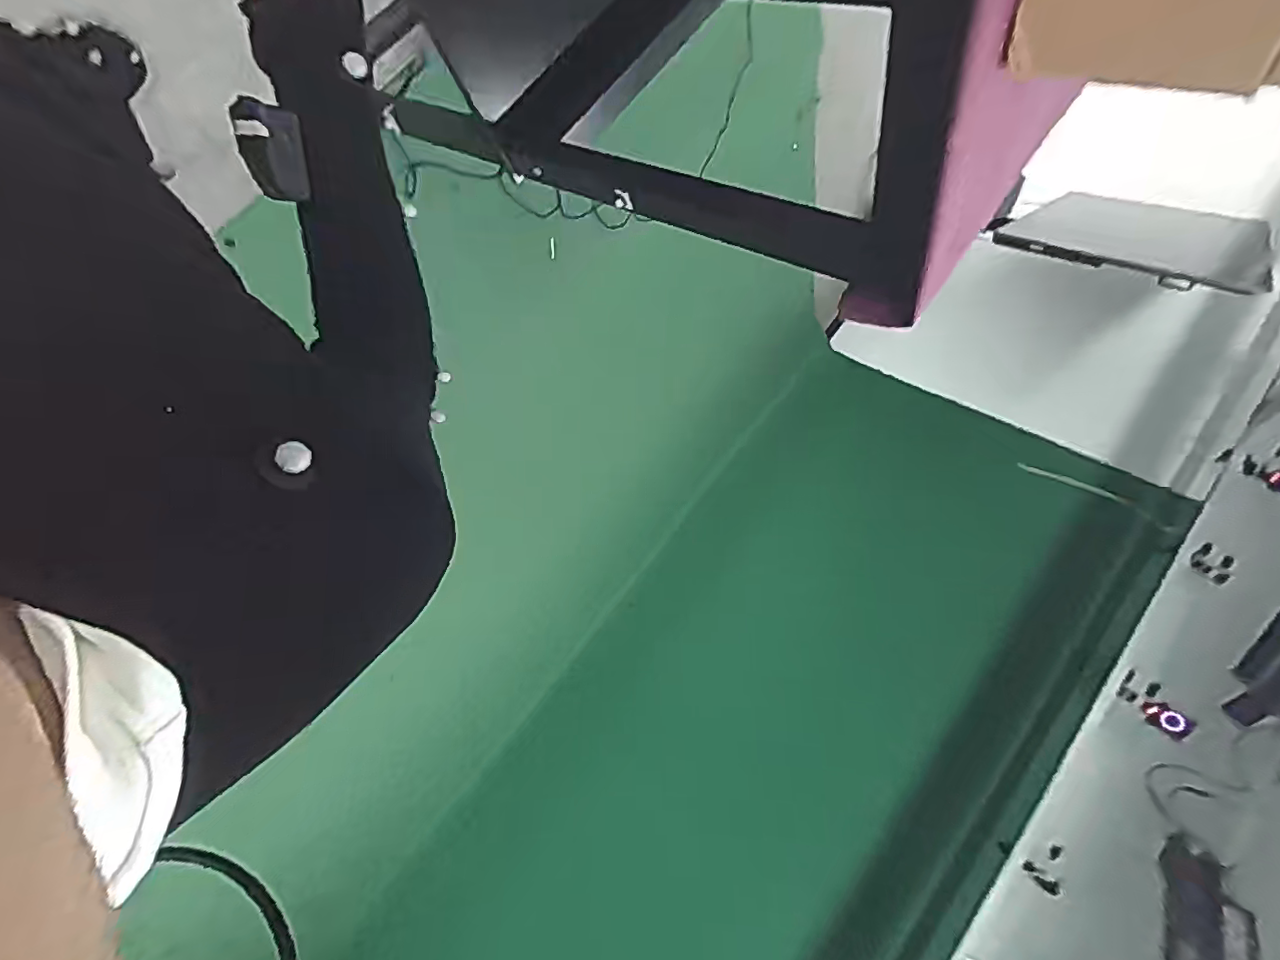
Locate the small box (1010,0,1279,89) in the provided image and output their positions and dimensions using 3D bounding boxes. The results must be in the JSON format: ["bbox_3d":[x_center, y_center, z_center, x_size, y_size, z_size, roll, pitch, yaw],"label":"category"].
[{"bbox_3d":[0.382,-0.398,0.351,0.168,0.176,0.179,-49,150,-13],"label":"small box"}]
